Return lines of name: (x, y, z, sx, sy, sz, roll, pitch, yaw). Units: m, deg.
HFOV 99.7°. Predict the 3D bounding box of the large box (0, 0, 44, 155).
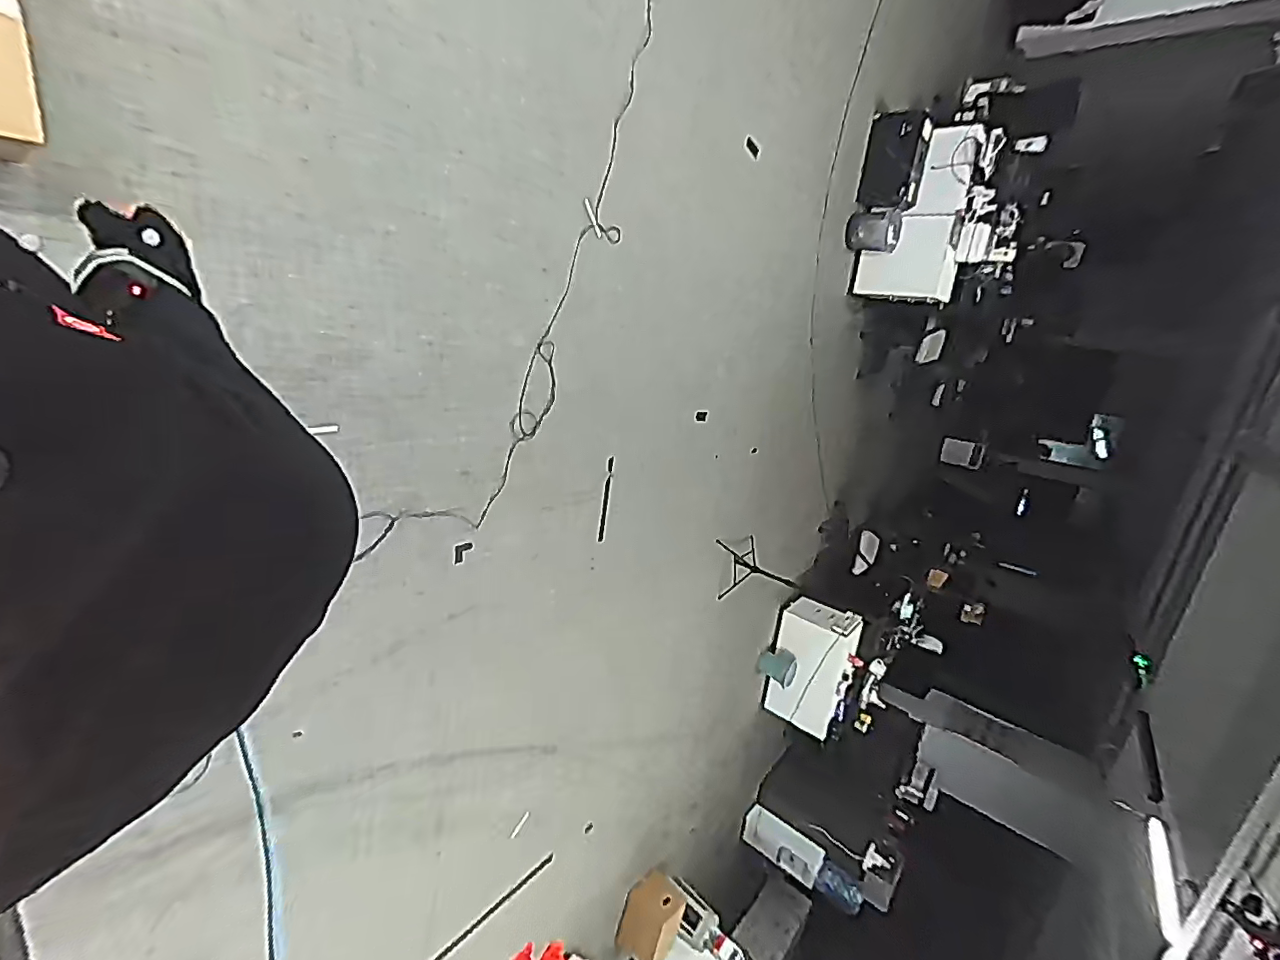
large box: (-1.064, -0.629, 0.649, 0.408, 0.320, 0.320, -15, 118, -51)
